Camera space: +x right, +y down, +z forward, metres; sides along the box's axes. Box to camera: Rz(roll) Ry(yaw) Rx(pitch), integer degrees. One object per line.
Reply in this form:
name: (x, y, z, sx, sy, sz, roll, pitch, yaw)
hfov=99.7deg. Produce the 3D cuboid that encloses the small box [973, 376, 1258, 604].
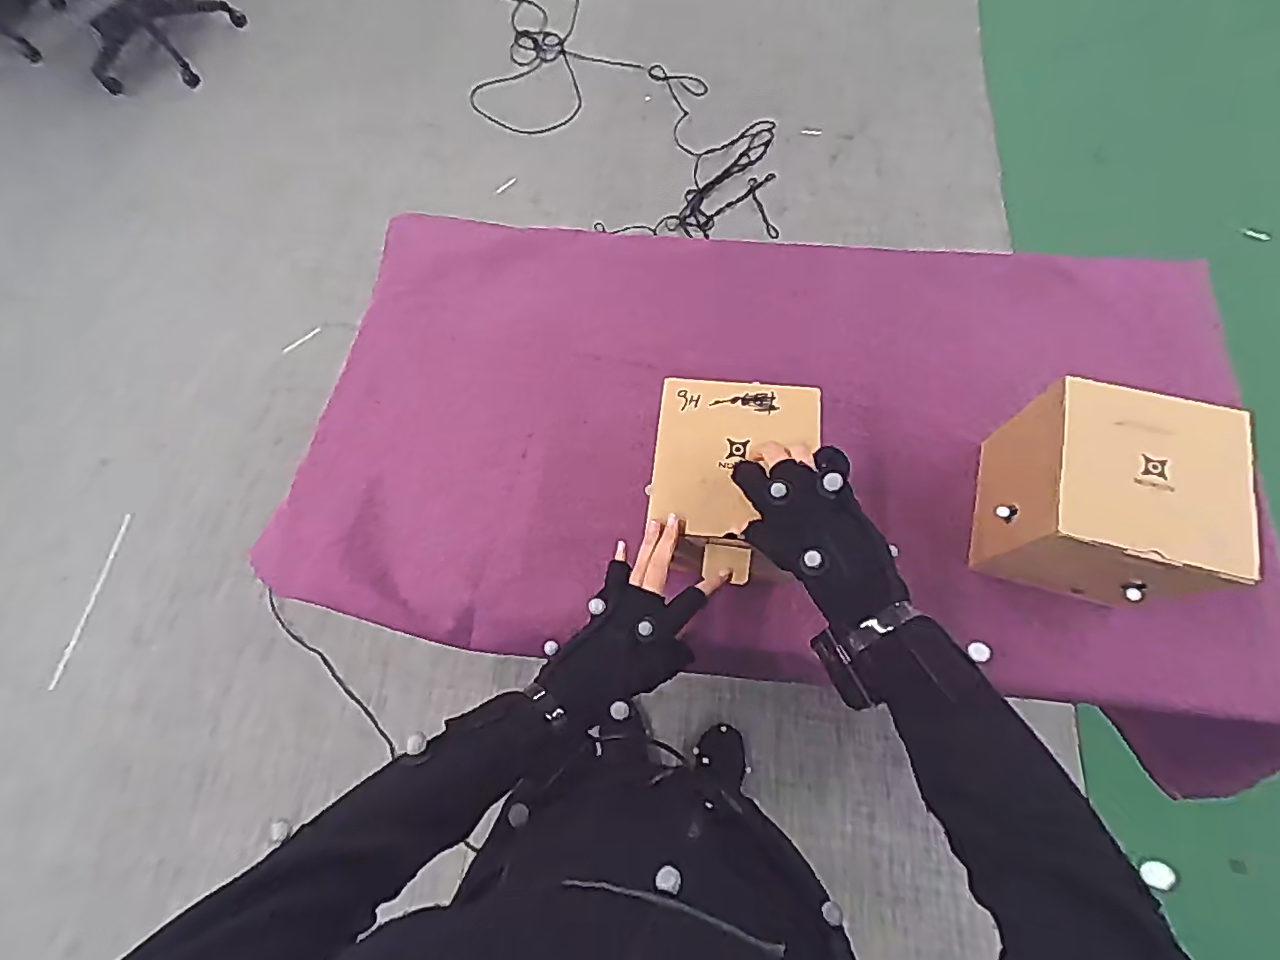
small box: (0.487, 0.021, 0.581, 0.168, 0.176, 0.179, 15, 71, 10)

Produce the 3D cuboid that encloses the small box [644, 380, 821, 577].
small box: (0.102, 0.008, 0.618, 0.168, 0.176, 0.179, 6, 70, 6)
